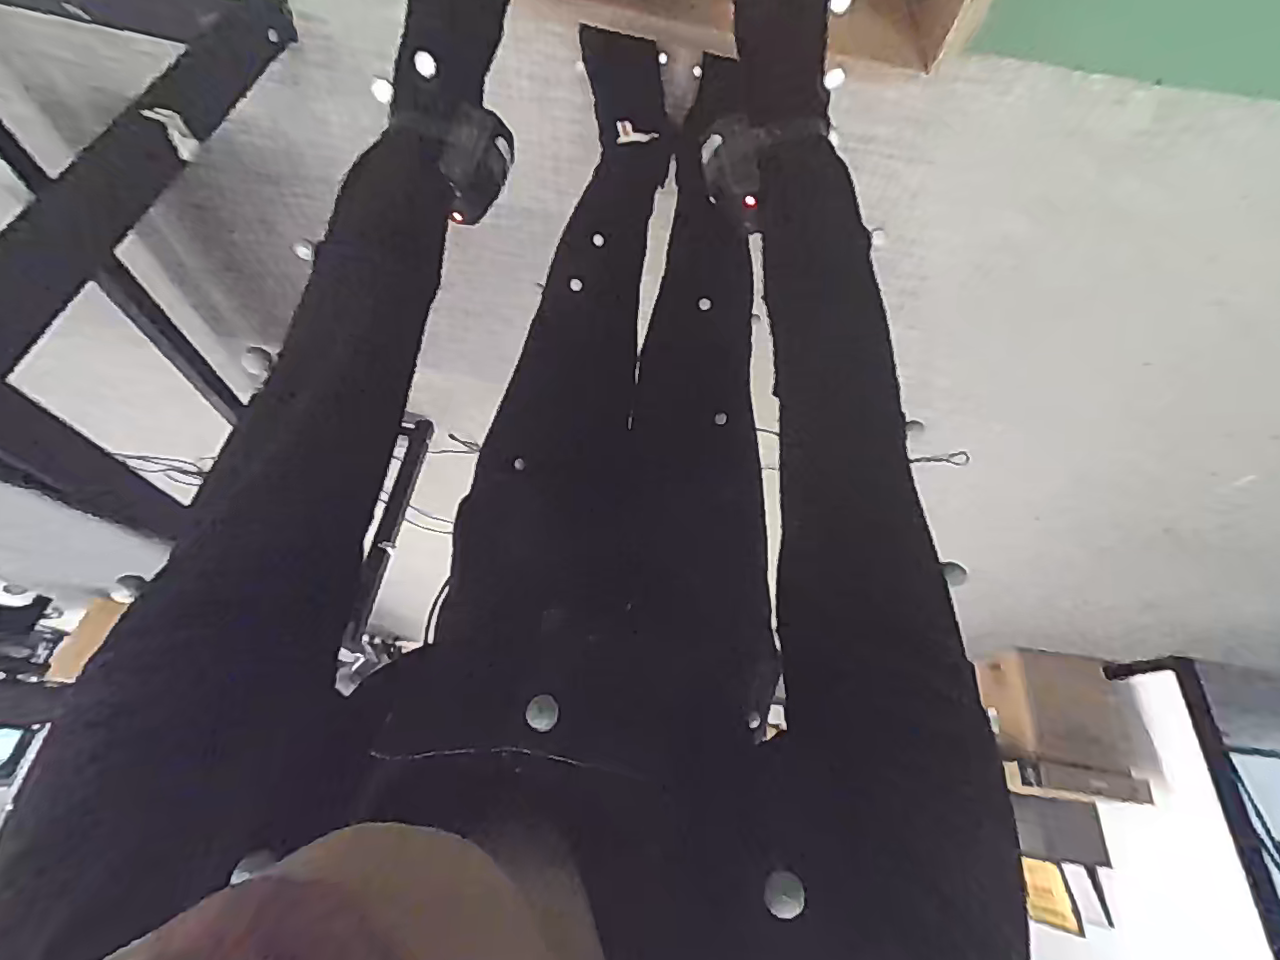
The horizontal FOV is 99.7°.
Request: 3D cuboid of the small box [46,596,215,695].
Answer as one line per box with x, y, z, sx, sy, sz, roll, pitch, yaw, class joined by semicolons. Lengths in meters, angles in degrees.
-1.089;0.360;1.176;0.179;0.176;0.168;9;152;-6;small box
